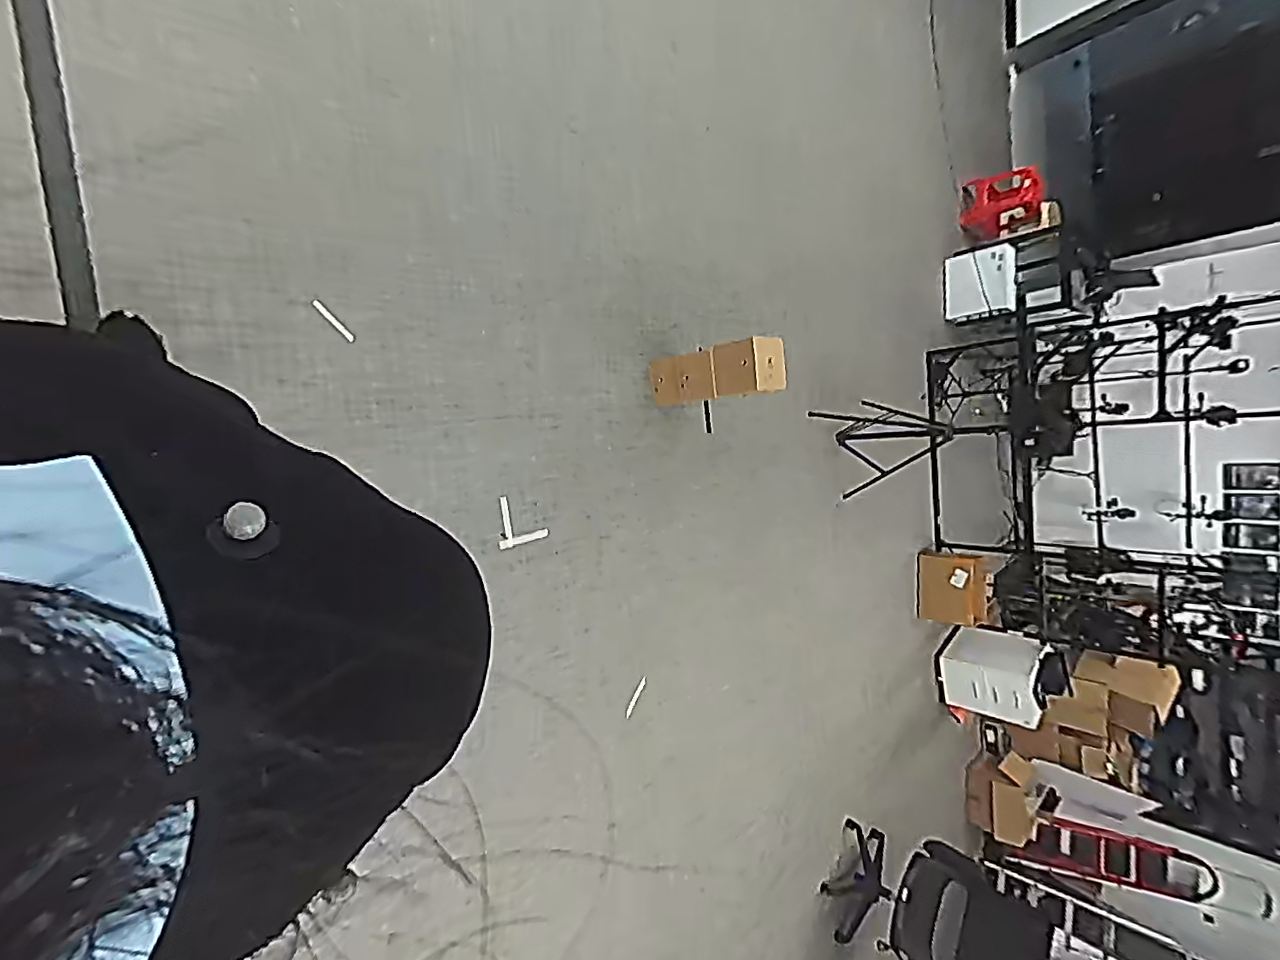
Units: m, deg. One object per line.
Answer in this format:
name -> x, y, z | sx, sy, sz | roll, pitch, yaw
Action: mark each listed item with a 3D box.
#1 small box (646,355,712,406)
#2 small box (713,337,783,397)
small box -> 0.150, -0.382, 2.079 | 0.179, 0.176, 0.168 | -17, 102, -41
small box -> 0.361, -0.378, 1.826 | 0.168, 0.176, 0.179 | -10, 98, -40
